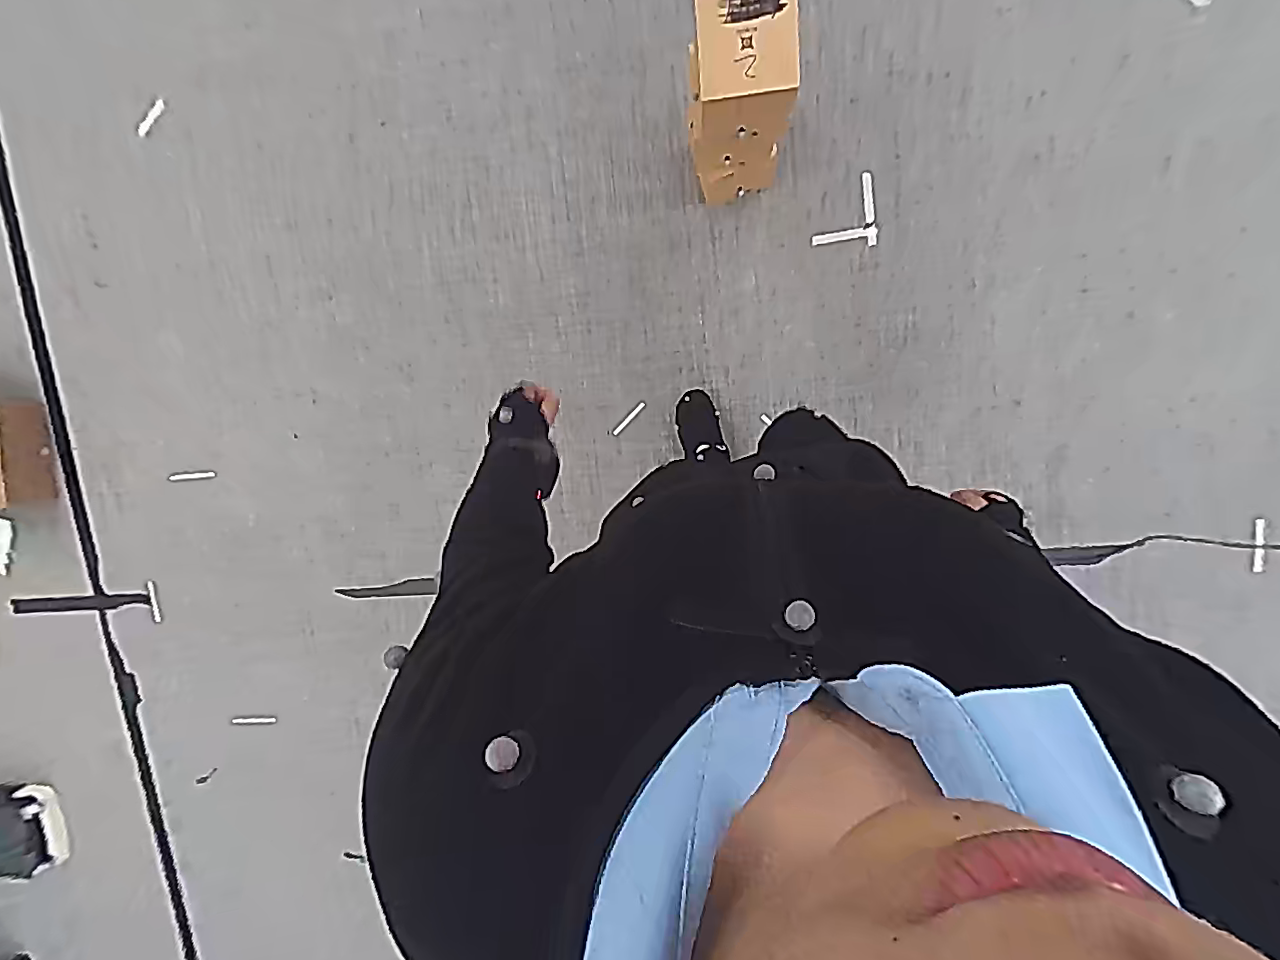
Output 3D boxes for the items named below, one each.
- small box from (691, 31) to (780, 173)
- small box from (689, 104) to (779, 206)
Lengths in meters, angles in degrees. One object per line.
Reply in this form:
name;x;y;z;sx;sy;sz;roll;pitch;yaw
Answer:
small box;0.192;-0.774;1.124;0.168;0.176;0.179;-4;98;7
small box;0.217;-0.790;1.284;0.168;0.176;0.179;-17;96;9
